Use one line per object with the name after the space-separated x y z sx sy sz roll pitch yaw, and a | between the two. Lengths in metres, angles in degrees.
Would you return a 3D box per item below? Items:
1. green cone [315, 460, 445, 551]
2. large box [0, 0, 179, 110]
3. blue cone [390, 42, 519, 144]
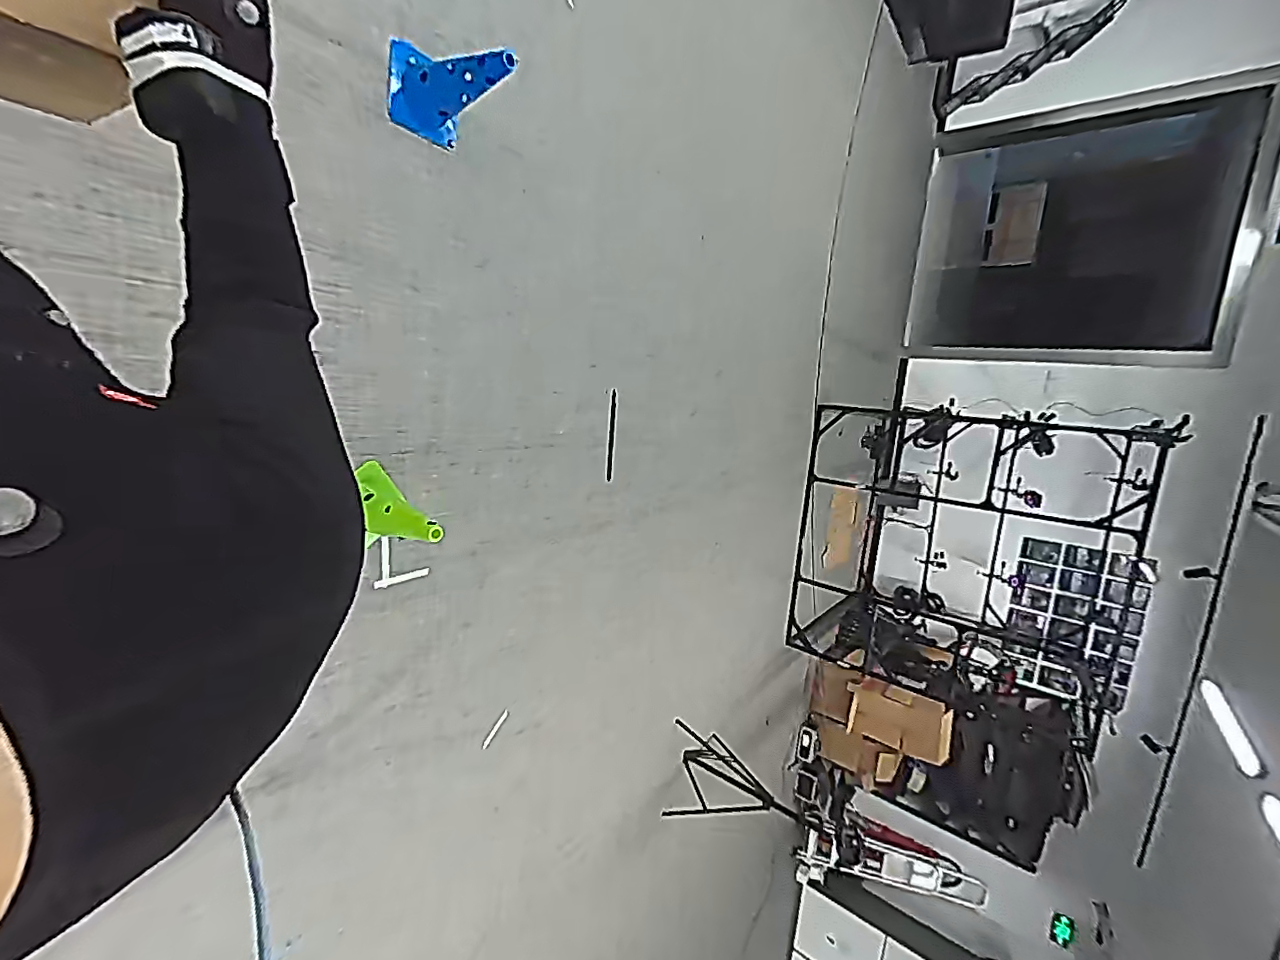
-0.637 0.100 1.416 0.202 0.368 0.200 -52 137 -33 | green cone
-0.563 -0.473 0.296 0.408 0.320 0.320 -9 113 -54 | large box
-0.454 -1.016 1.372 0.192 0.380 0.193 -2 101 -54 | blue cone
